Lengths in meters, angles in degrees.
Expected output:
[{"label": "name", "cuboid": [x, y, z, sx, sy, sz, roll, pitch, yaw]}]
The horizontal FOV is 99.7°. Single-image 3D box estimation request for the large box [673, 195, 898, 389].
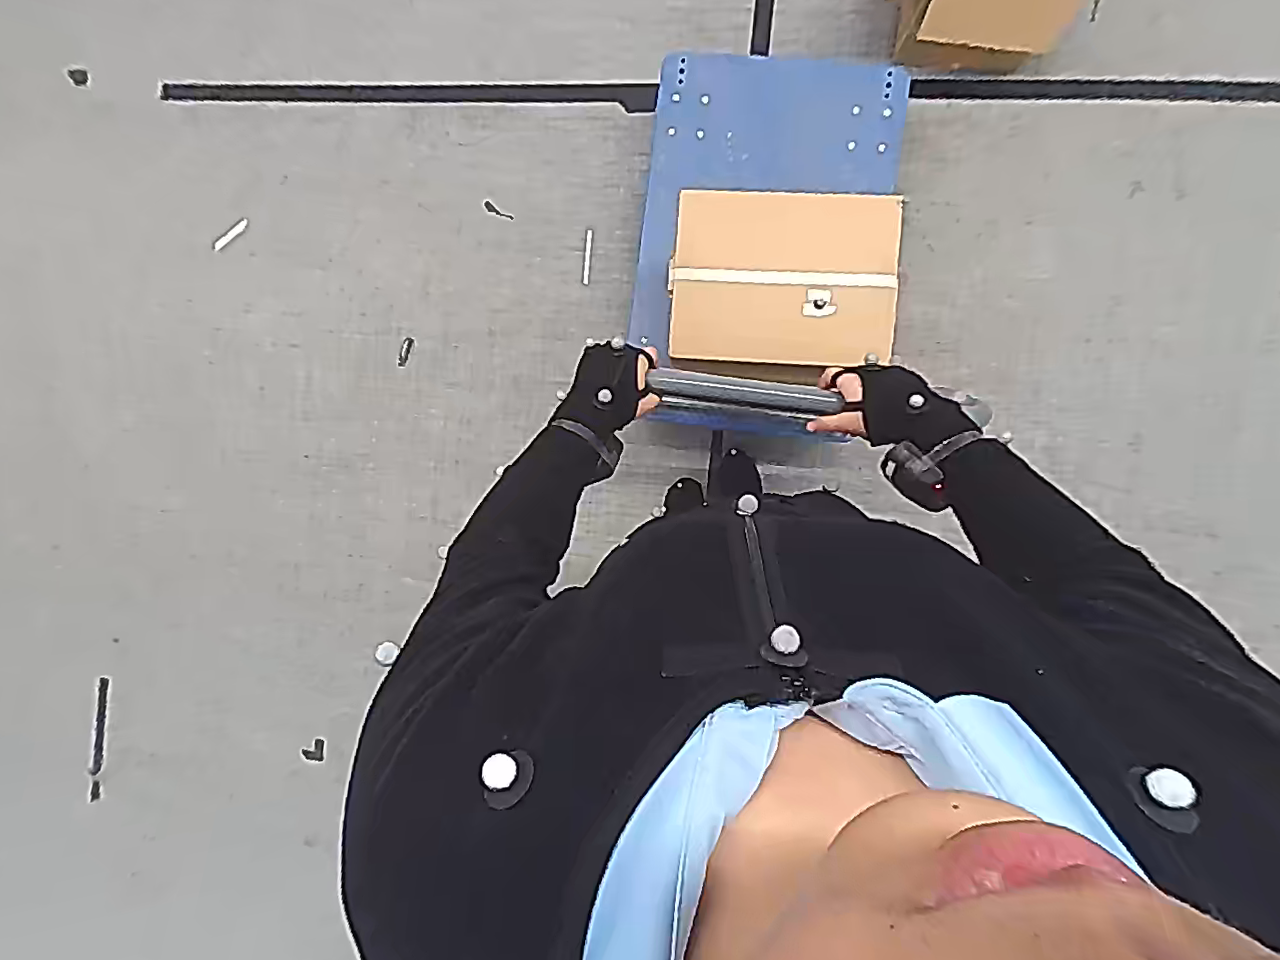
[{"label": "large box", "cuboid": [0.277, -0.376, 1.155, 0.408, 0.320, 0.320, 4, 92, 4]}]
